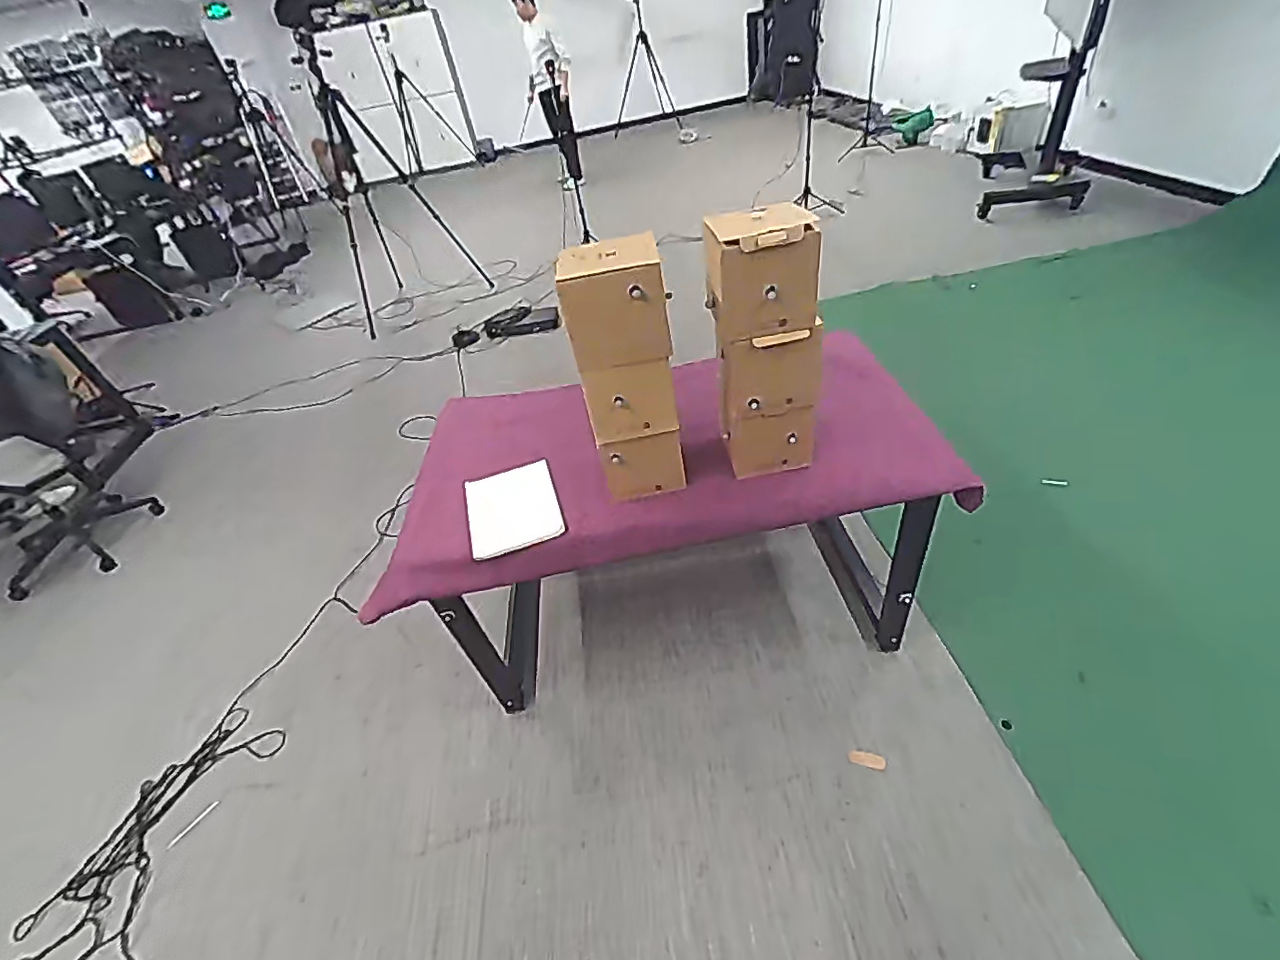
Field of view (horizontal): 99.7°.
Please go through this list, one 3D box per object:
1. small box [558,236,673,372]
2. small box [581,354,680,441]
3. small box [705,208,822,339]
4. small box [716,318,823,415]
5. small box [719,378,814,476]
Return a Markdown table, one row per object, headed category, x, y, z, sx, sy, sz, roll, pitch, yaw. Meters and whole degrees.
| category | x | y | z | sx | sy | sz | roll | pitch | yaw |
| --- | --- | --- | --- | --- | --- | --- | --- | --- | --- |
| small box | -0.036 | -0.314 | 0.972 | 0.179 | 0.176 | 0.168 | -9 | 39 | 5 |
| small box | -0.019 | -0.192 | 1.083 | 0.168 | 0.176 | 0.179 | -10 | 39 | 3 |
| small box | 0.216 | -0.364 | 0.971 | 0.168 | 0.176 | 0.179 | -9 | 41 | 2 |
| small box | 0.253 | -0.243 | 1.076 | 0.168 | 0.176 | 0.179 | -10 | 39 | 1 |
| small box | 0.273 | -0.122 | 1.185 | 0.168 | 0.176 | 0.179 | -9 | 40 | 2 |
